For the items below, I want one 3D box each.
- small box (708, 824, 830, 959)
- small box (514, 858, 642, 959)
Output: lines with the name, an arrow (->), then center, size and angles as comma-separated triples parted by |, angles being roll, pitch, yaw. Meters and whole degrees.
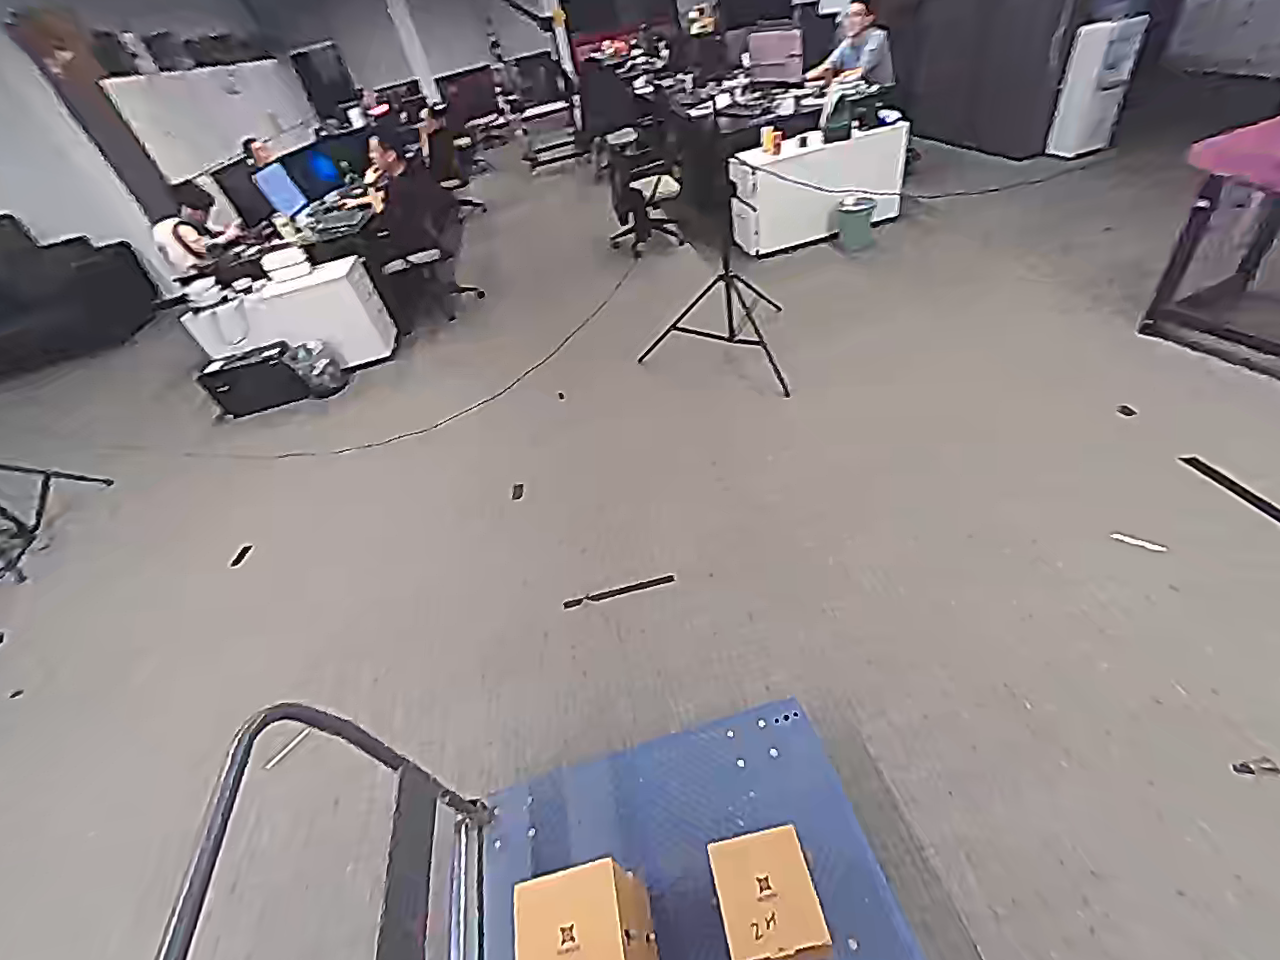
small box -> 0.229, 0.764, 0.982 | 0.168, 0.176, 0.179 | -15, 41, 1
small box -> -0.093, 0.739, 0.854 | 0.168, 0.176, 0.179 | -15, 42, -2
